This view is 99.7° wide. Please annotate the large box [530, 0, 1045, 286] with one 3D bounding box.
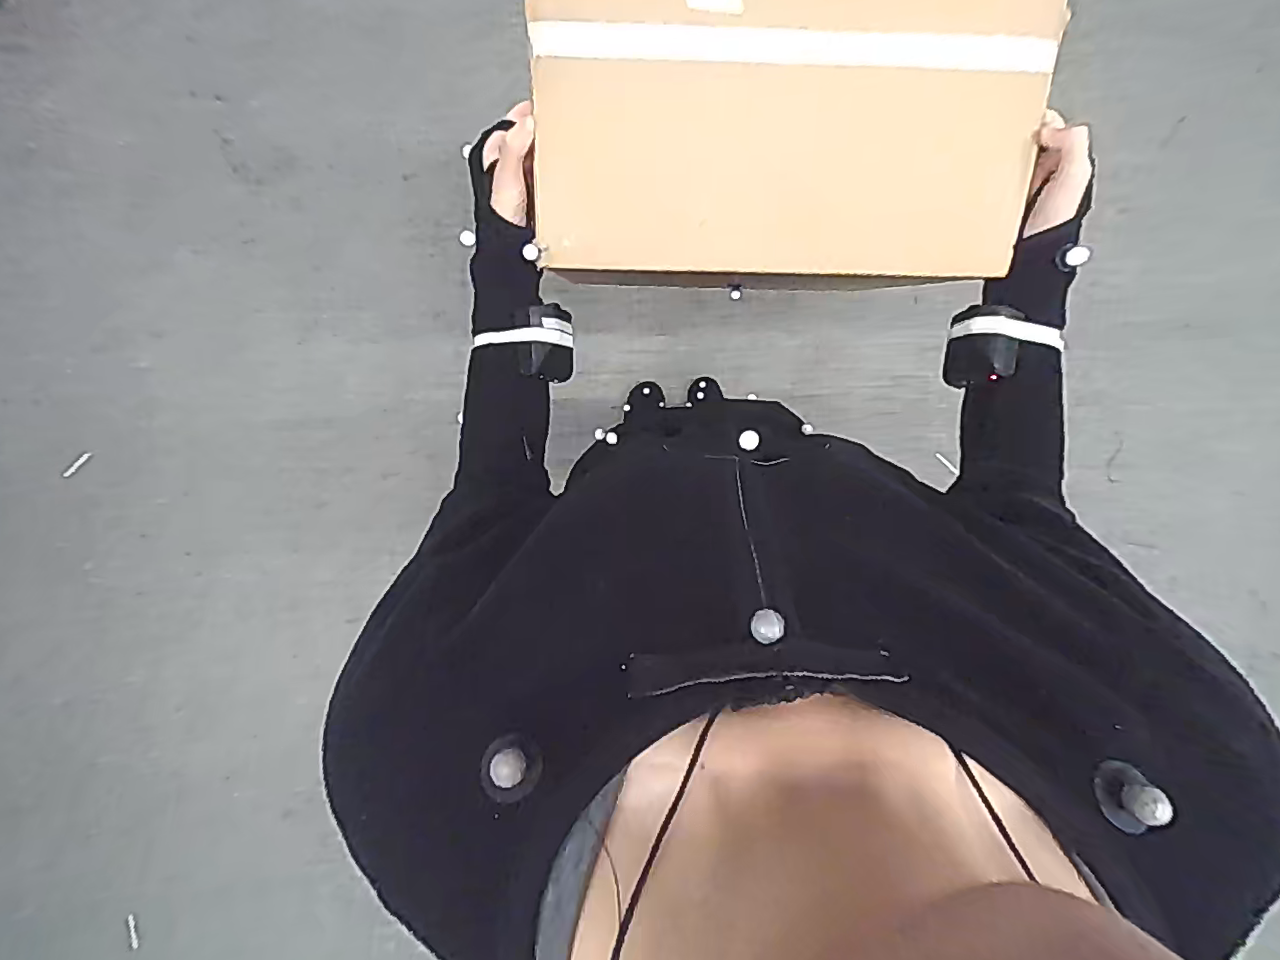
[{"bbox_3d":[0.112,-0.371,0.570,0.408,0.320,0.320,0,107,-1],"label":"large box"}]
